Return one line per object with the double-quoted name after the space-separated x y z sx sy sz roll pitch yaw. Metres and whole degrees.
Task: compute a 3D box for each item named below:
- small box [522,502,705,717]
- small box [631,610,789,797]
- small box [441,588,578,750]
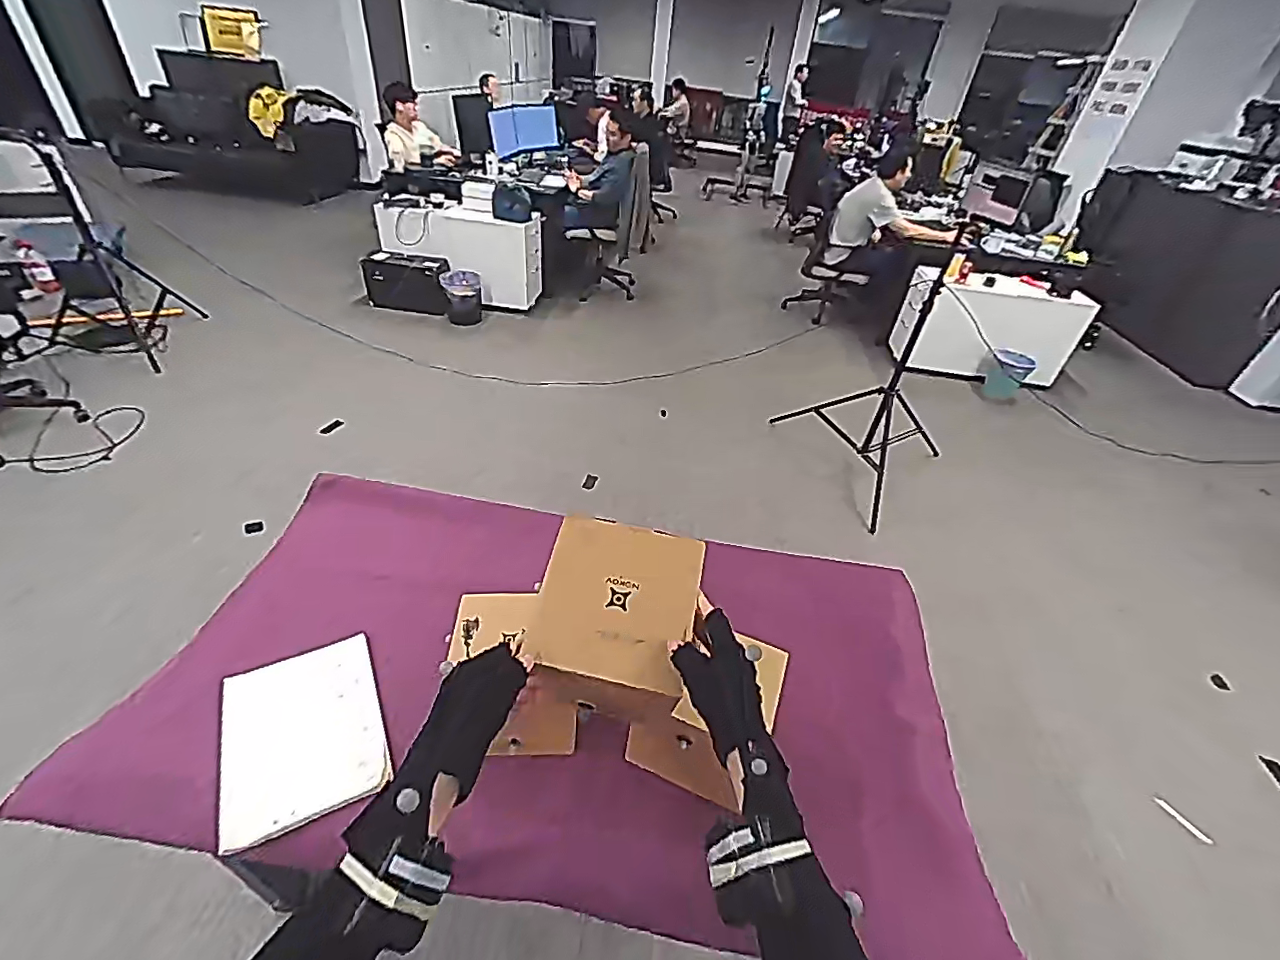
-0.028 0.155 0.635 0.168 0.176 0.179 11 55 4 "small box"
0.097 0.321 0.786 0.179 0.176 0.168 18 38 15 "small box"
-0.180 0.281 0.802 0.179 0.176 0.168 2 37 -7 "small box"
